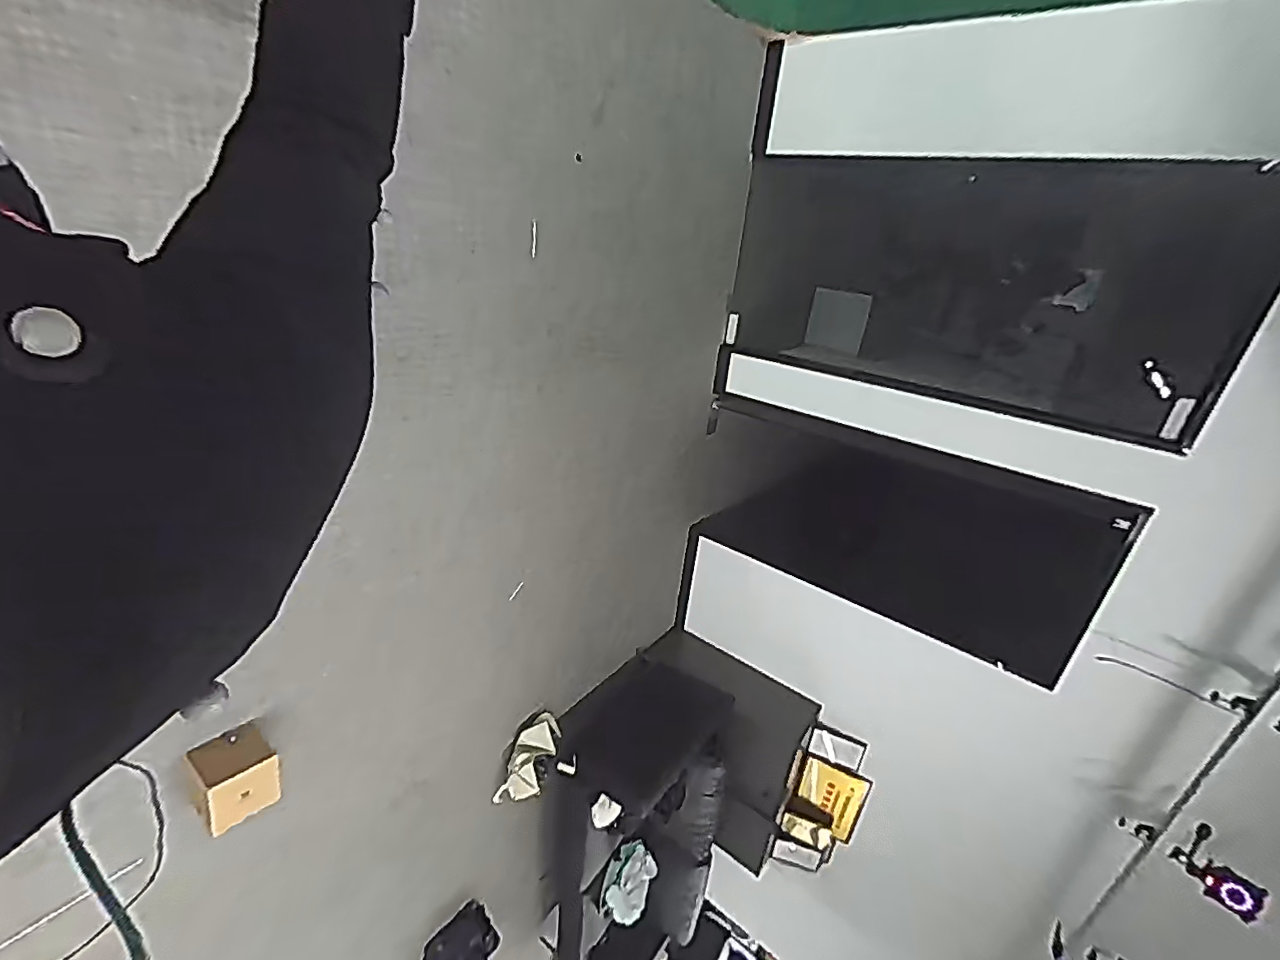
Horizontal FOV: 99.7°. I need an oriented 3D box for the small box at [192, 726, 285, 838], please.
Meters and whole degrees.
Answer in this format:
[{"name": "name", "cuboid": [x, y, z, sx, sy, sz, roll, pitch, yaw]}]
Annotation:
[{"name": "small box", "cuboid": [-1.121, 0.836, 1.514, 0.168, 0.176, 0.179, -16, 122, -53]}]
